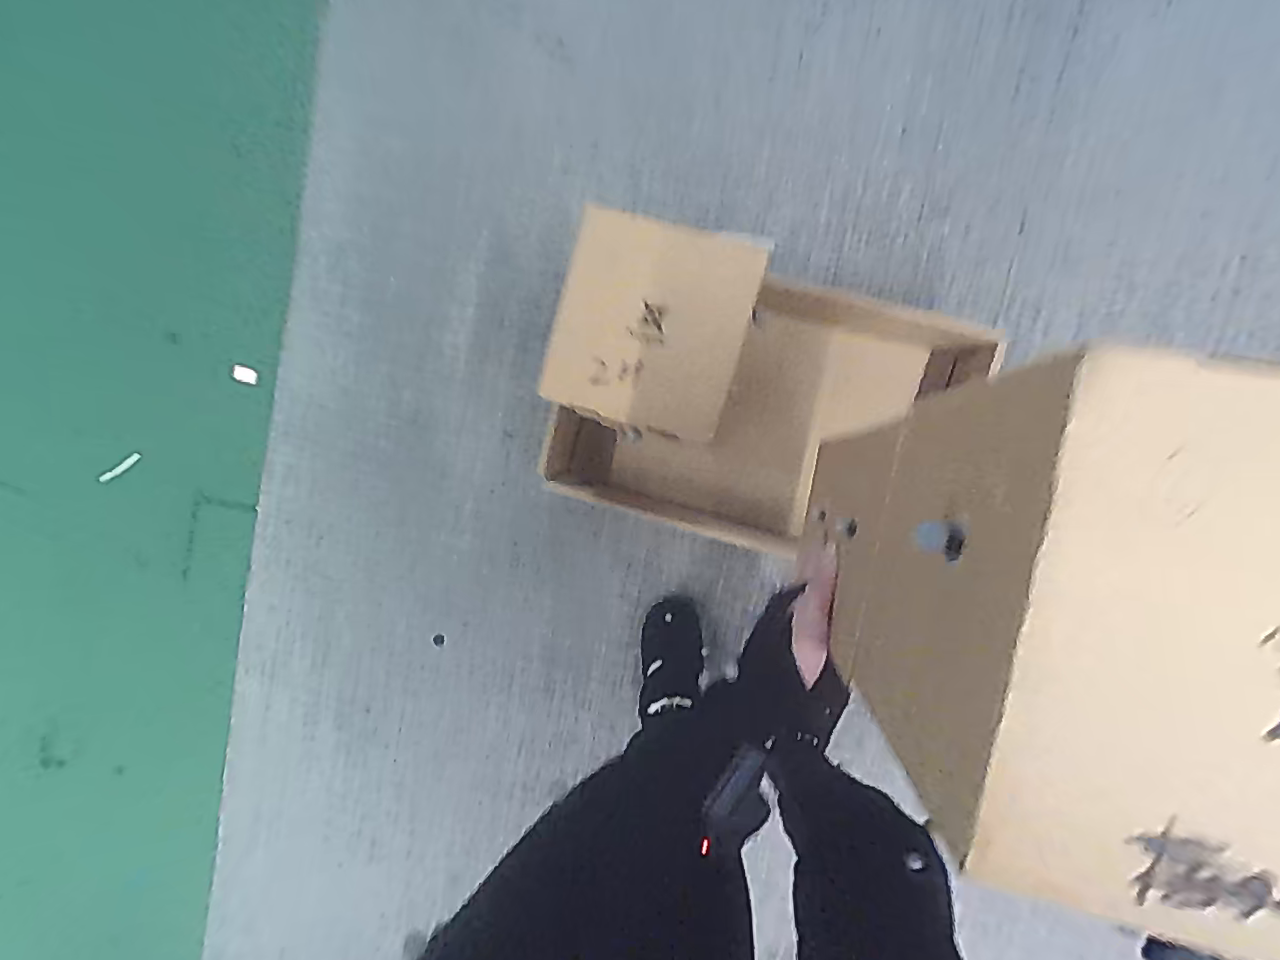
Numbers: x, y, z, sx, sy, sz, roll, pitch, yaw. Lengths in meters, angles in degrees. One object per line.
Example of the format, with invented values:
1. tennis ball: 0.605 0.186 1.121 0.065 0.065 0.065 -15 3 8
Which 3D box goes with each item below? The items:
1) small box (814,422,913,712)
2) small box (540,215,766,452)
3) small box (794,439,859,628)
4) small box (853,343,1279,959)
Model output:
1. small box: 0.229 0.066 0.385 0.168 0.176 0.179 11 92 10
2. small box: 0.017 -0.135 0.558 0.168 0.176 0.179 17 95 6
3. small box: 0.258 0.063 0.546 0.168 0.176 0.179 11 93 10
4. small box: 0.201 0.061 0.223 0.168 0.176 0.179 11 92 10
